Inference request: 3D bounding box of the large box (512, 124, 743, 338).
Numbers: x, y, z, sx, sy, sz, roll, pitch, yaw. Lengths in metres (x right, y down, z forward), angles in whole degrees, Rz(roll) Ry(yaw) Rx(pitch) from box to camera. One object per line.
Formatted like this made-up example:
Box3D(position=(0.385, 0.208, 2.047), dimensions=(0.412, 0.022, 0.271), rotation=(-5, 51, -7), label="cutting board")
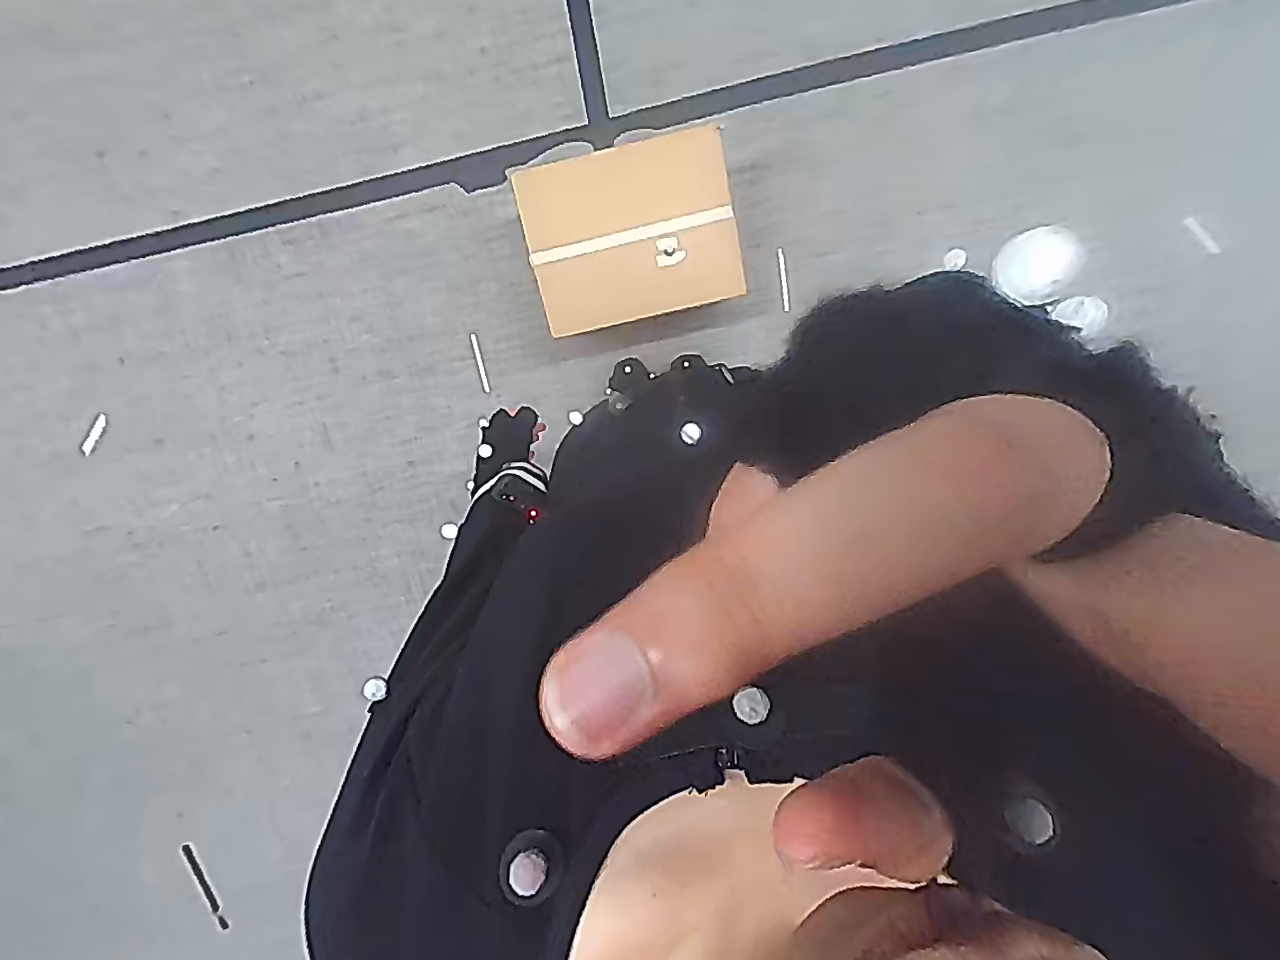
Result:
Box3D(position=(-0.023, -0.515, 1.198), dimensions=(0.408, 0.320, 0.320), rotation=(-13, 106, 2), label="large box")
